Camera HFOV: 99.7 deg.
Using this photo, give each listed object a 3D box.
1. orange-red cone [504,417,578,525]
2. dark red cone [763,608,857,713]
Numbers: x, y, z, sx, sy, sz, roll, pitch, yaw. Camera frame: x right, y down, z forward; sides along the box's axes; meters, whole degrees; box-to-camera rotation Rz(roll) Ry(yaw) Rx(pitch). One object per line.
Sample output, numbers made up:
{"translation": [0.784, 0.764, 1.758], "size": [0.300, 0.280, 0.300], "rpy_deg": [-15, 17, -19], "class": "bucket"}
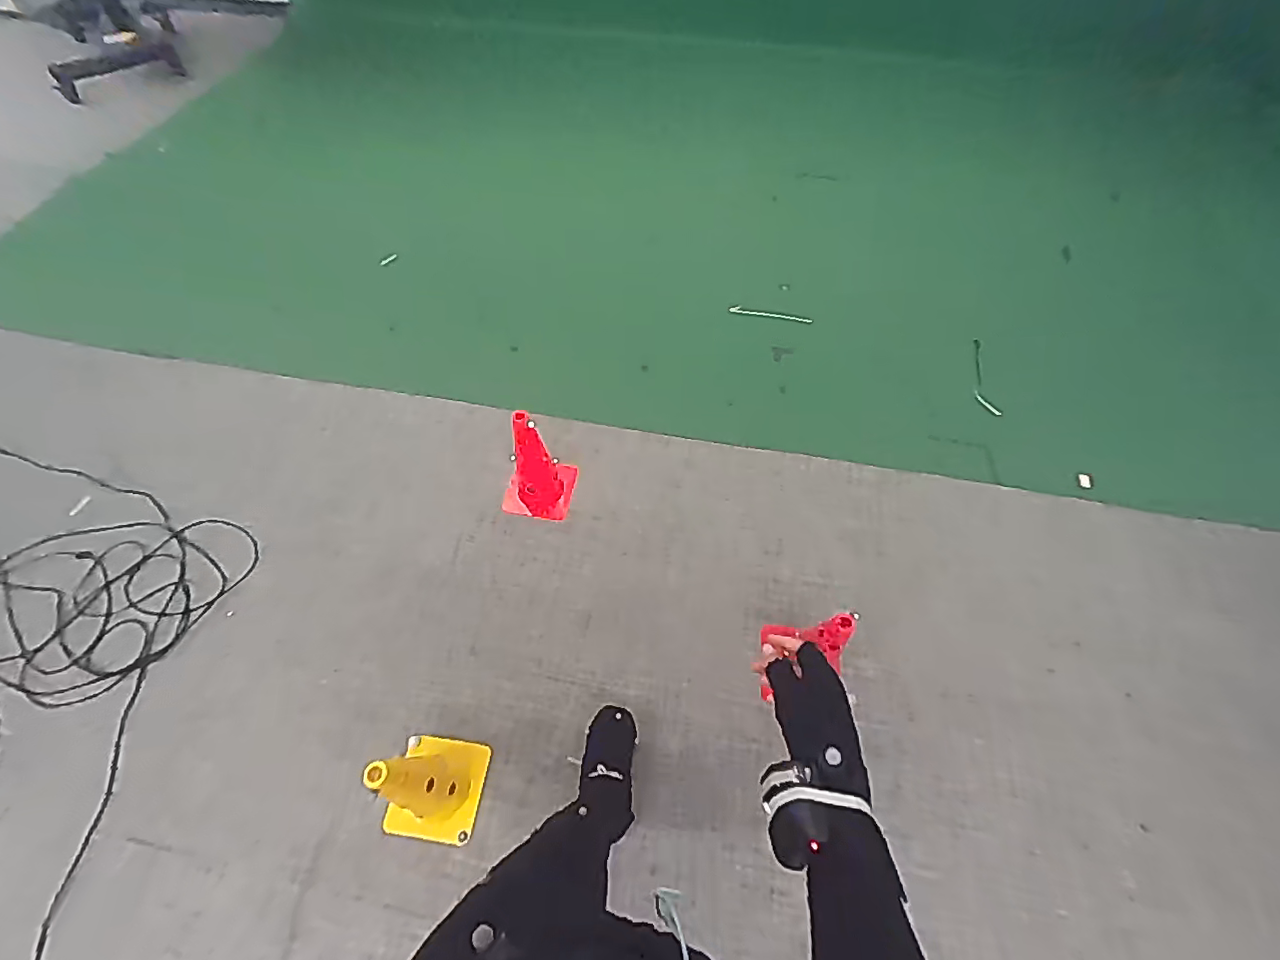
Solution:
{"translation": [-0.308, -0.049, 1.529], "size": [0.198, 0.360, 0.199], "rpy_deg": [9, 58, 7], "class": "orange-red cone"}
{"translation": [0.411, 0.380, 1.217], "size": [0.202, 0.394, 0.201], "rpy_deg": [4, 56, 3], "class": "dark red cone"}
